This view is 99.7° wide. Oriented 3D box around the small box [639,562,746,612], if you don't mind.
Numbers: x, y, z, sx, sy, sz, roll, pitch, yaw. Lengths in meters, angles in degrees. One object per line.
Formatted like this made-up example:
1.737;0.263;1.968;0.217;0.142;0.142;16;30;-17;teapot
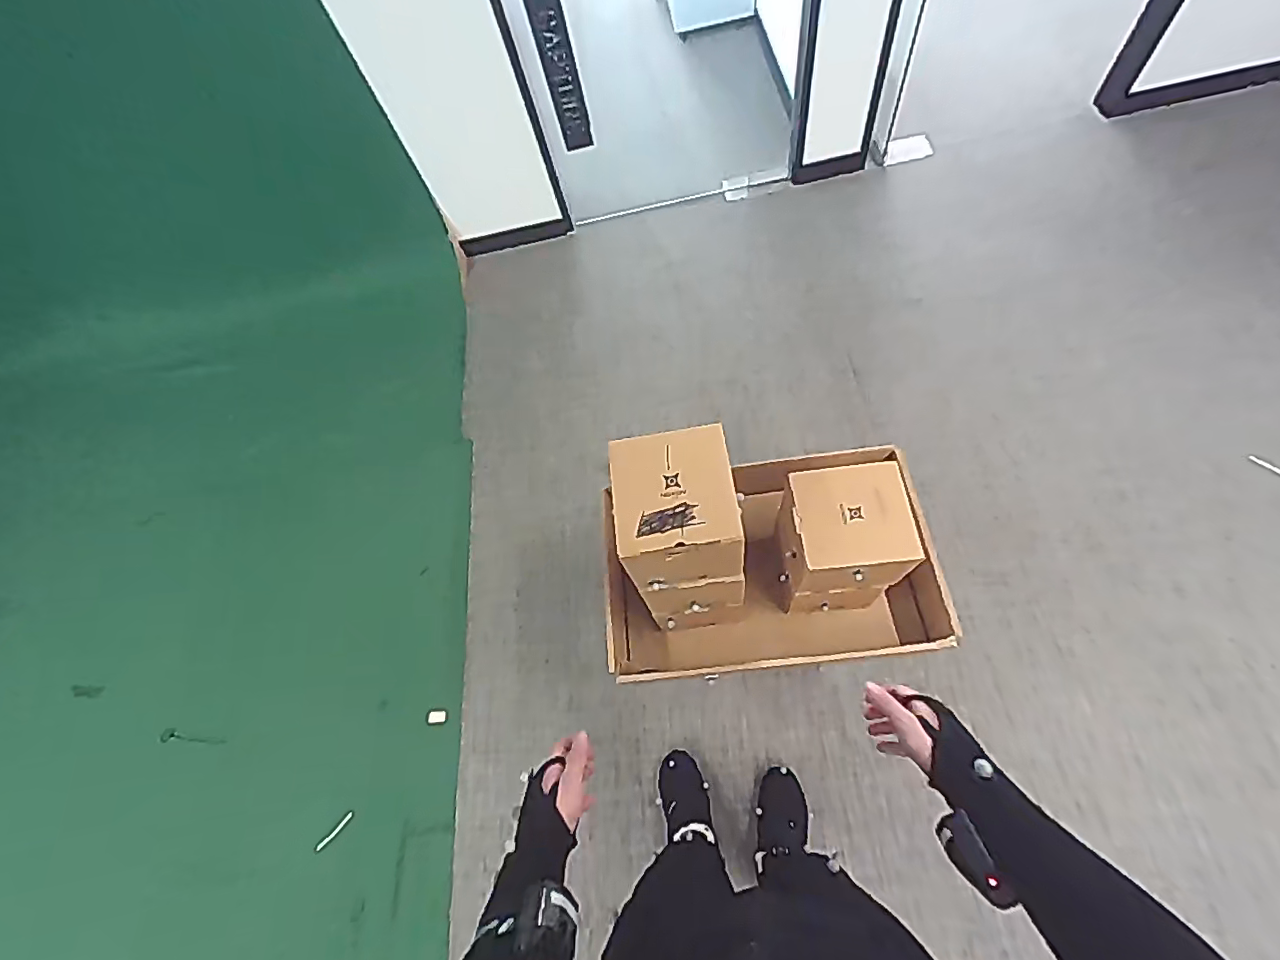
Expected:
0.085;0.117;0.933;0.168;0.176;0.179;-8;64;6;small box

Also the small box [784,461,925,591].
0.344;0.085;0.910;0.179;0.176;0.168;-6;66;6;small box

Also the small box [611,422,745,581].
0.058;0.042;0.789;0.168;0.176;0.179;-9;63;5;small box
